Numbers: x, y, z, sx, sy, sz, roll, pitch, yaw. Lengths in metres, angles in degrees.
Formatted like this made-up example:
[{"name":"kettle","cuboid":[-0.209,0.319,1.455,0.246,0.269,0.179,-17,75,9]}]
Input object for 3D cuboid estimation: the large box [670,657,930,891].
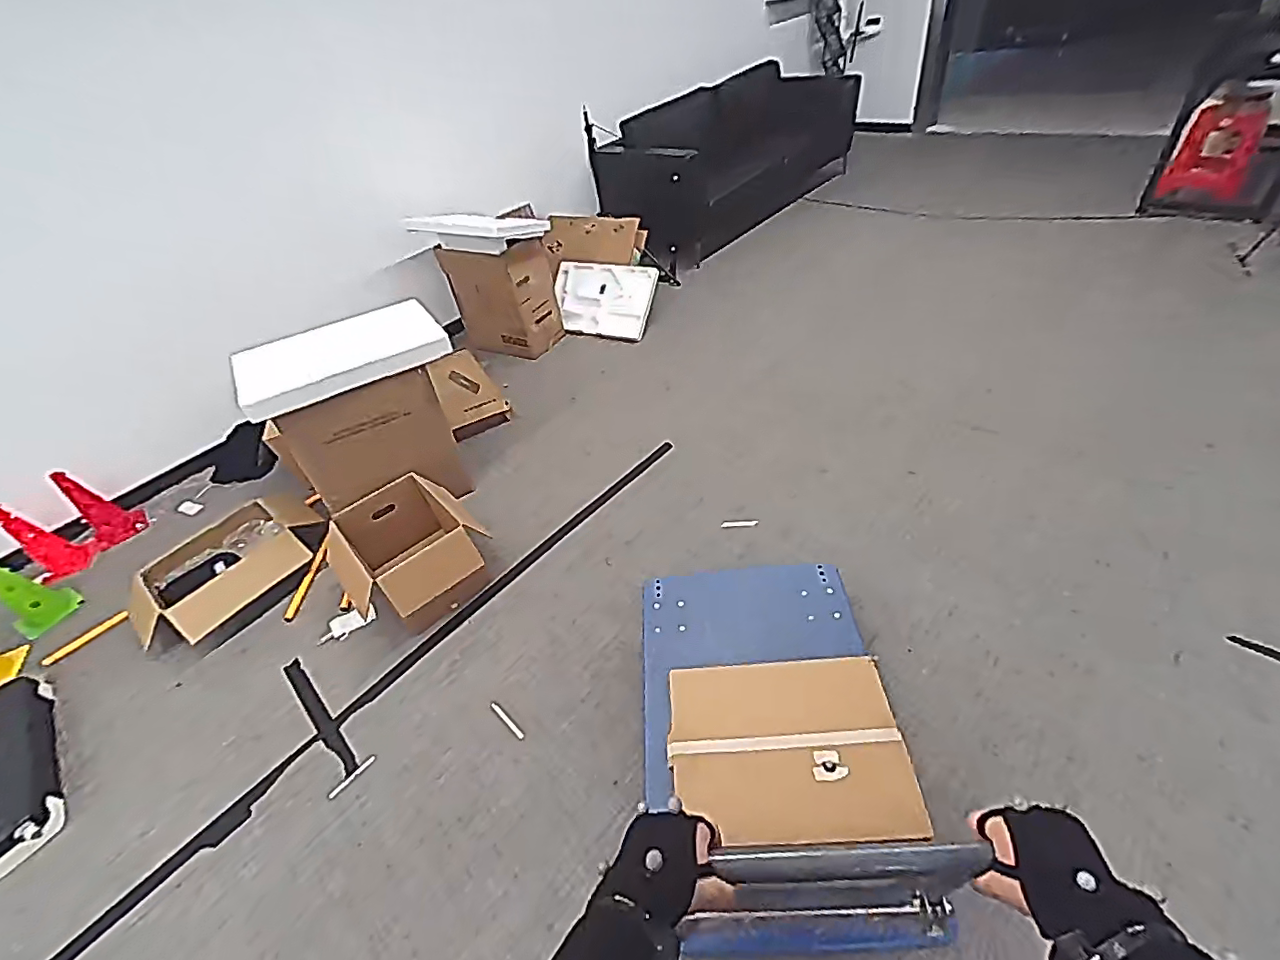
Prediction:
[{"name":"large box","cuboid":[0.277,0.584,1.072,0.408,0.320,0.320,-5,43,4]}]
